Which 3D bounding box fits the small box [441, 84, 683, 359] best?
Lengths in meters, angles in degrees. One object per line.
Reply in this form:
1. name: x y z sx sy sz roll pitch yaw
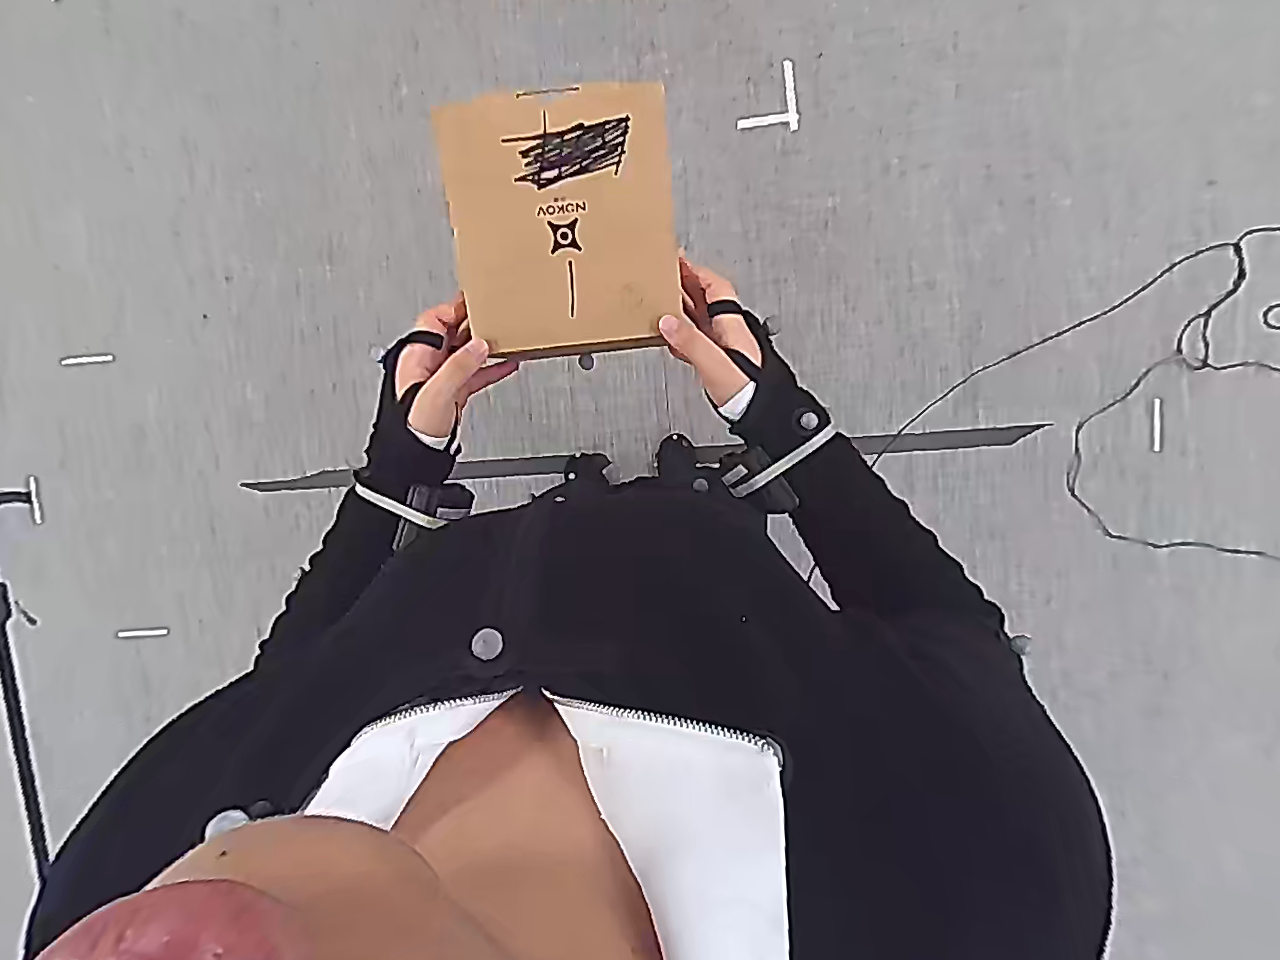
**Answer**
1. small box: -0.056 -0.205 0.478 0.168 0.176 0.179 -6 101 1
